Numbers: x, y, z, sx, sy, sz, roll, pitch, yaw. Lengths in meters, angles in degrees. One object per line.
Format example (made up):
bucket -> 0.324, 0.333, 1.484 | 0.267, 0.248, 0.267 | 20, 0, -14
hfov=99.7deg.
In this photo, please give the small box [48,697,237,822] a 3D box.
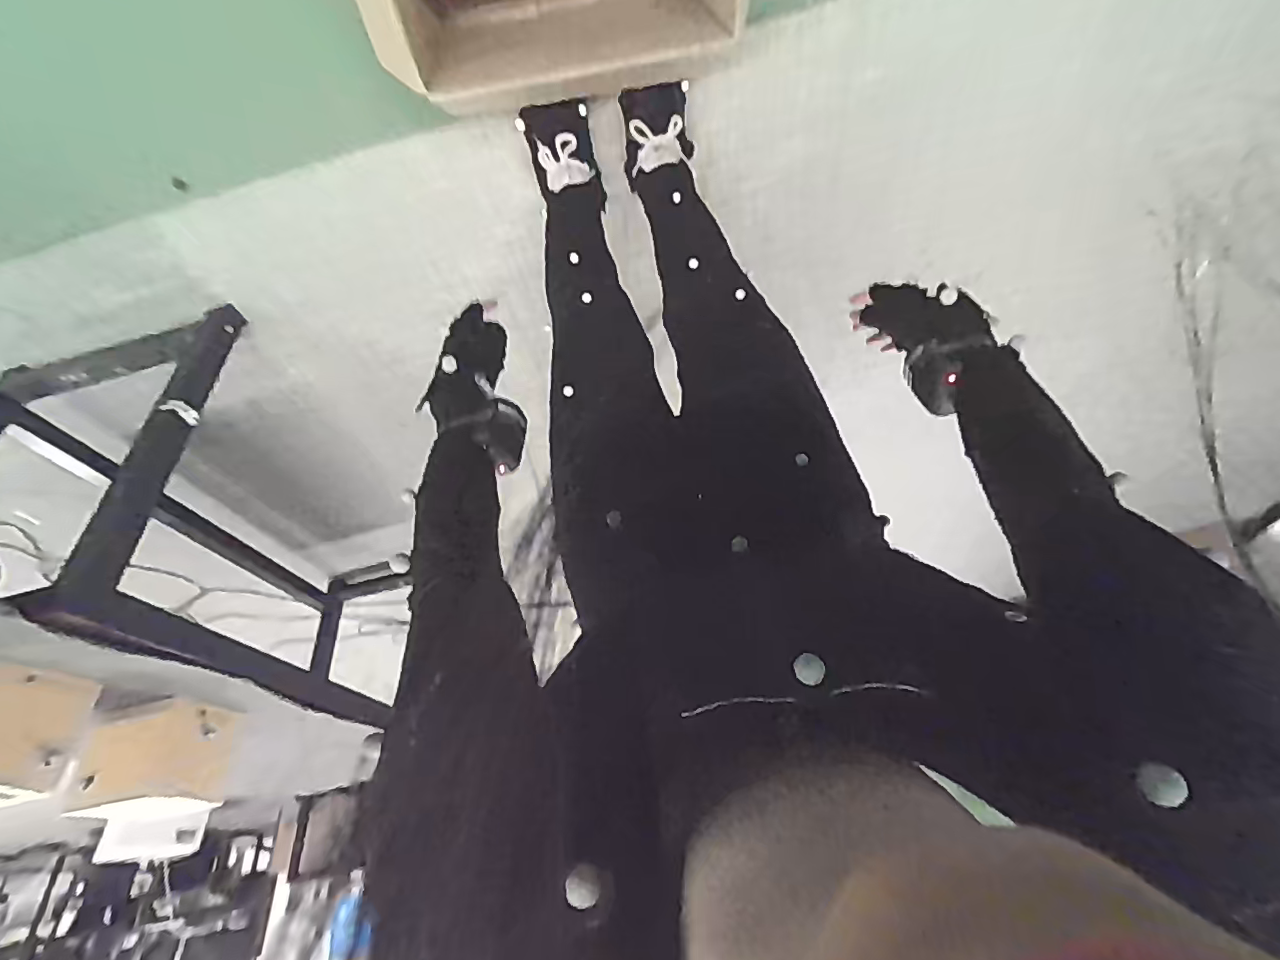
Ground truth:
small box -> -0.912, 0.525, 1.015 | 0.179, 0.176, 0.168 | -14, 144, 5
